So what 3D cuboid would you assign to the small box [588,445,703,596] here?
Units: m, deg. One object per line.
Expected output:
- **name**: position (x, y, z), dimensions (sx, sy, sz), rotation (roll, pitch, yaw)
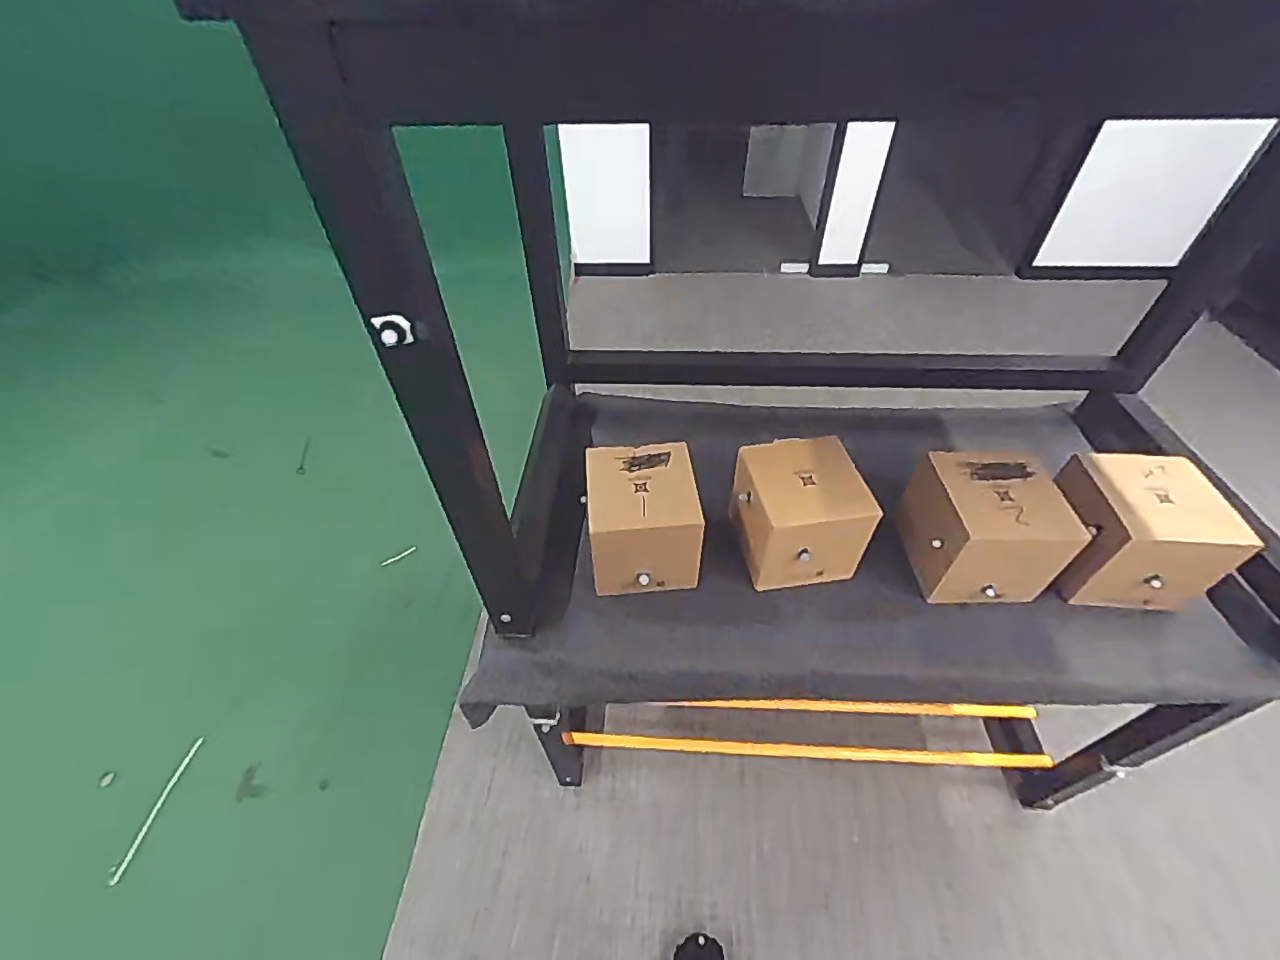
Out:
- **small box**: position (0.003, 0.066, 0.876), dimensions (0.168, 0.176, 0.179), rotation (-5, 46, -3)
